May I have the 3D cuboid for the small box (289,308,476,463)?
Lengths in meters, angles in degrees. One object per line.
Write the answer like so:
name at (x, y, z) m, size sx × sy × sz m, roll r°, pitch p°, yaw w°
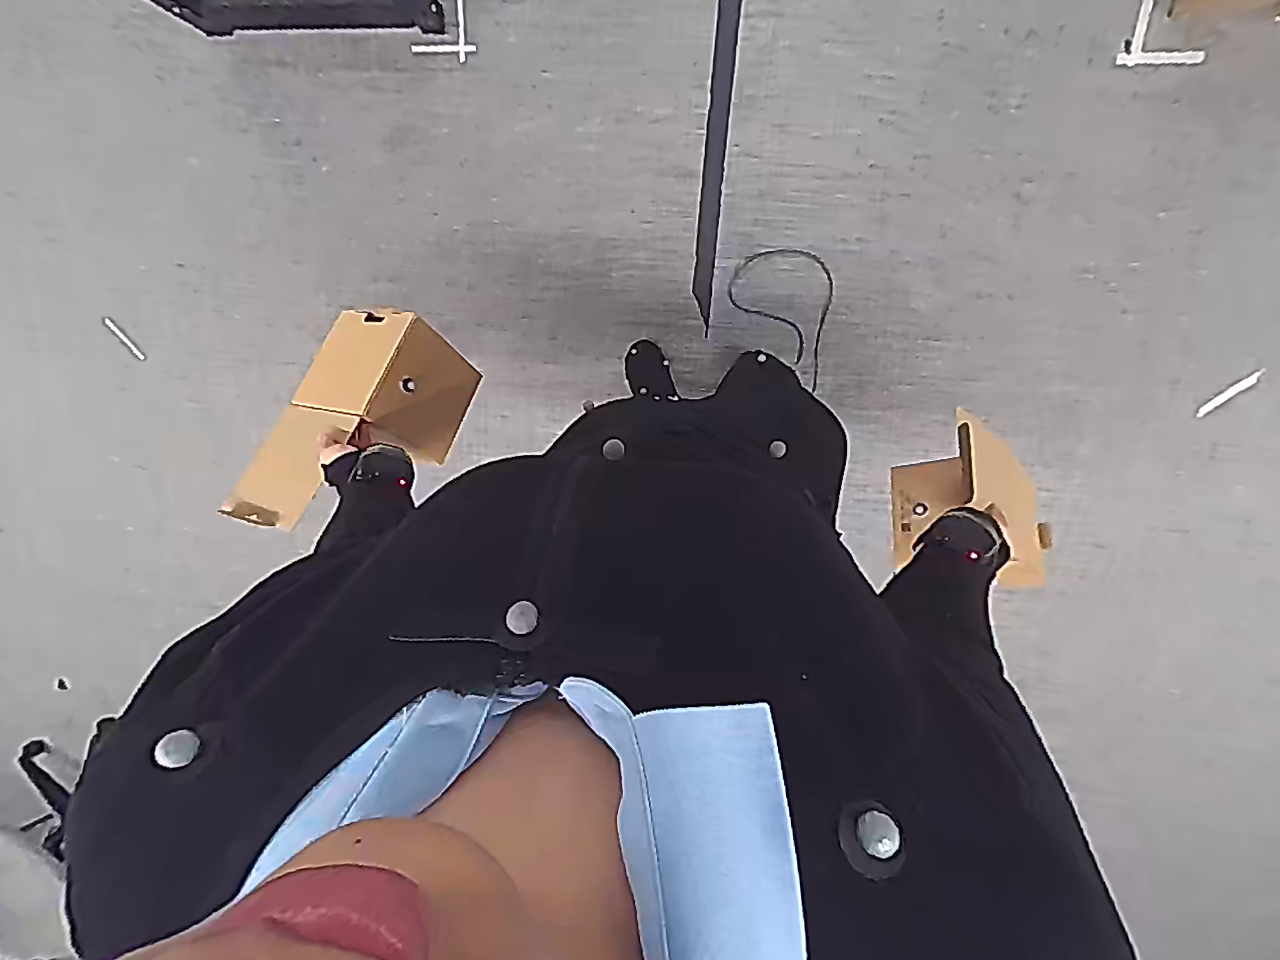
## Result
small box at (-0.390, -0.143, 0.848) m, size 0.168 × 0.176 × 0.179 m, roll 11°, pitch 70°, yaw 24°
